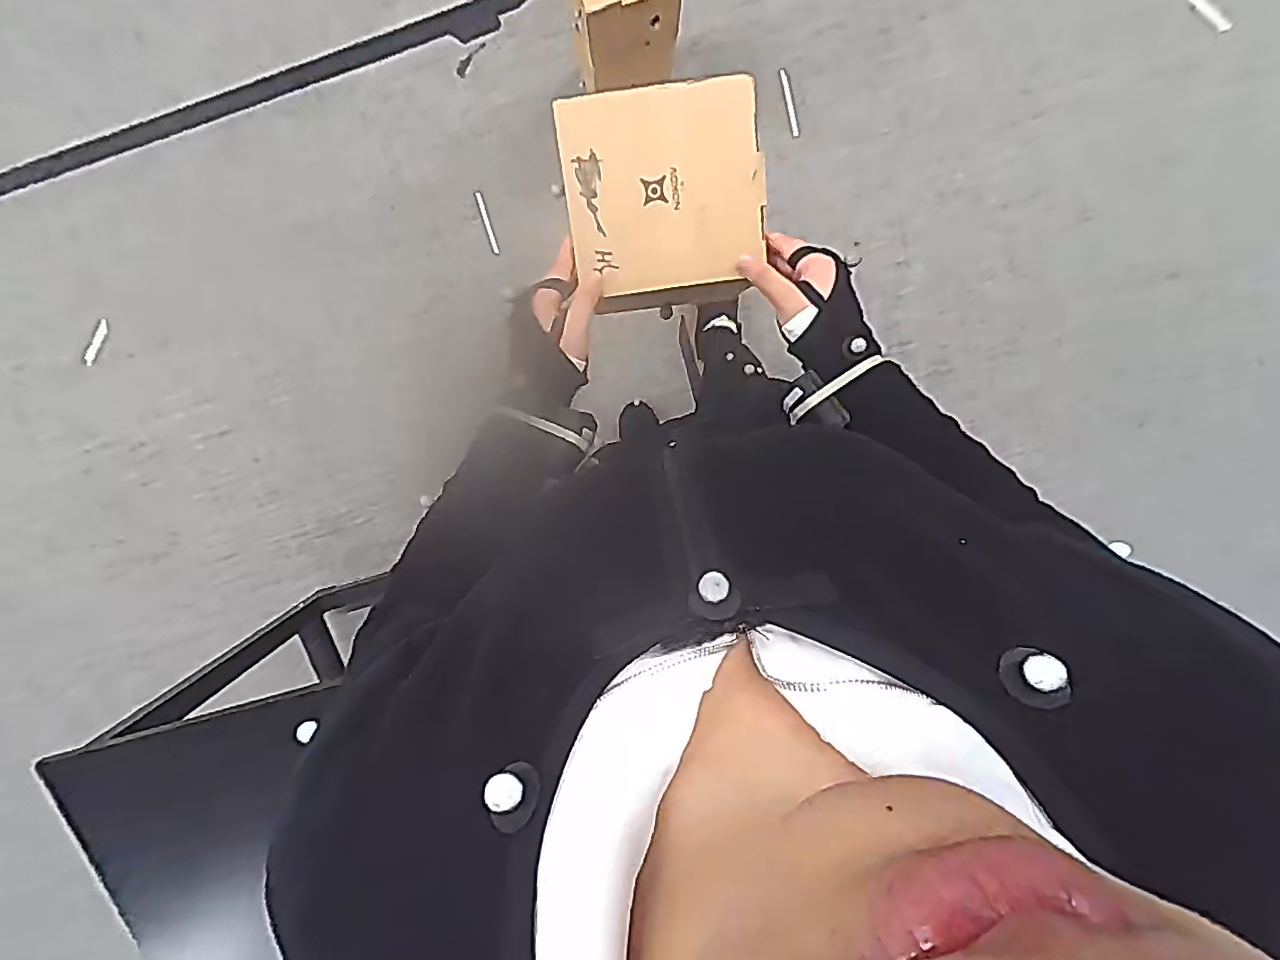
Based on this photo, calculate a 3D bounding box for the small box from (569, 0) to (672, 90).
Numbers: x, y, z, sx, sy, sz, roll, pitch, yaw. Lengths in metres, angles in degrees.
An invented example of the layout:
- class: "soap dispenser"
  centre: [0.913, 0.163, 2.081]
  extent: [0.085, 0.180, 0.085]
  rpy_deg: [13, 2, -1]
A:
- class: "small box"
  centre: [-0.041, -0.882, 1.077]
  extent: [0.168, 0.176, 0.179]
  rpy_deg: [-16, 102, 2]

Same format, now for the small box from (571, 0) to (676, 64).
- class: "small box"
  centre: [-0.037, -0.853, 0.918]
  extent: [0.168, 0.176, 0.179]
  rpy_deg: [-17, 101, 1]

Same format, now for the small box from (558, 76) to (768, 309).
- class: "small box"
  centre: [0.019, -0.276, 0.556]
  extent: [0.179, 0.176, 0.168]
  rpy_deg: [-7, 102, -1]
